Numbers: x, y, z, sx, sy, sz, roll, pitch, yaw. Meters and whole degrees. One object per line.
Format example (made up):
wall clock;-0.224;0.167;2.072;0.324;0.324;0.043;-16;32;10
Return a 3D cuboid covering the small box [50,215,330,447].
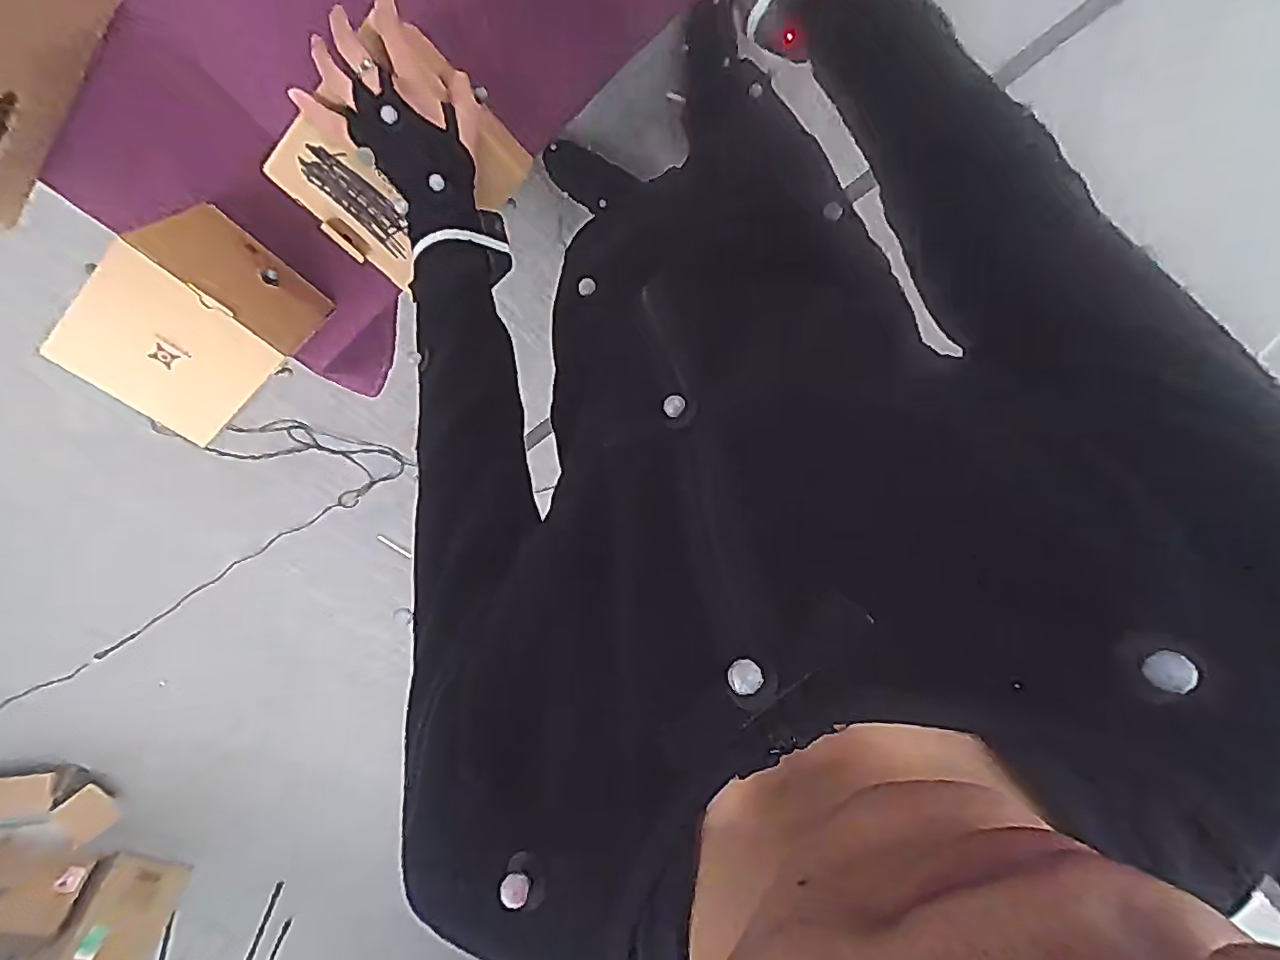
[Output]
small box;-0.509;-0.179;0.642;0.179;0.176;0.168;-37;123;17
